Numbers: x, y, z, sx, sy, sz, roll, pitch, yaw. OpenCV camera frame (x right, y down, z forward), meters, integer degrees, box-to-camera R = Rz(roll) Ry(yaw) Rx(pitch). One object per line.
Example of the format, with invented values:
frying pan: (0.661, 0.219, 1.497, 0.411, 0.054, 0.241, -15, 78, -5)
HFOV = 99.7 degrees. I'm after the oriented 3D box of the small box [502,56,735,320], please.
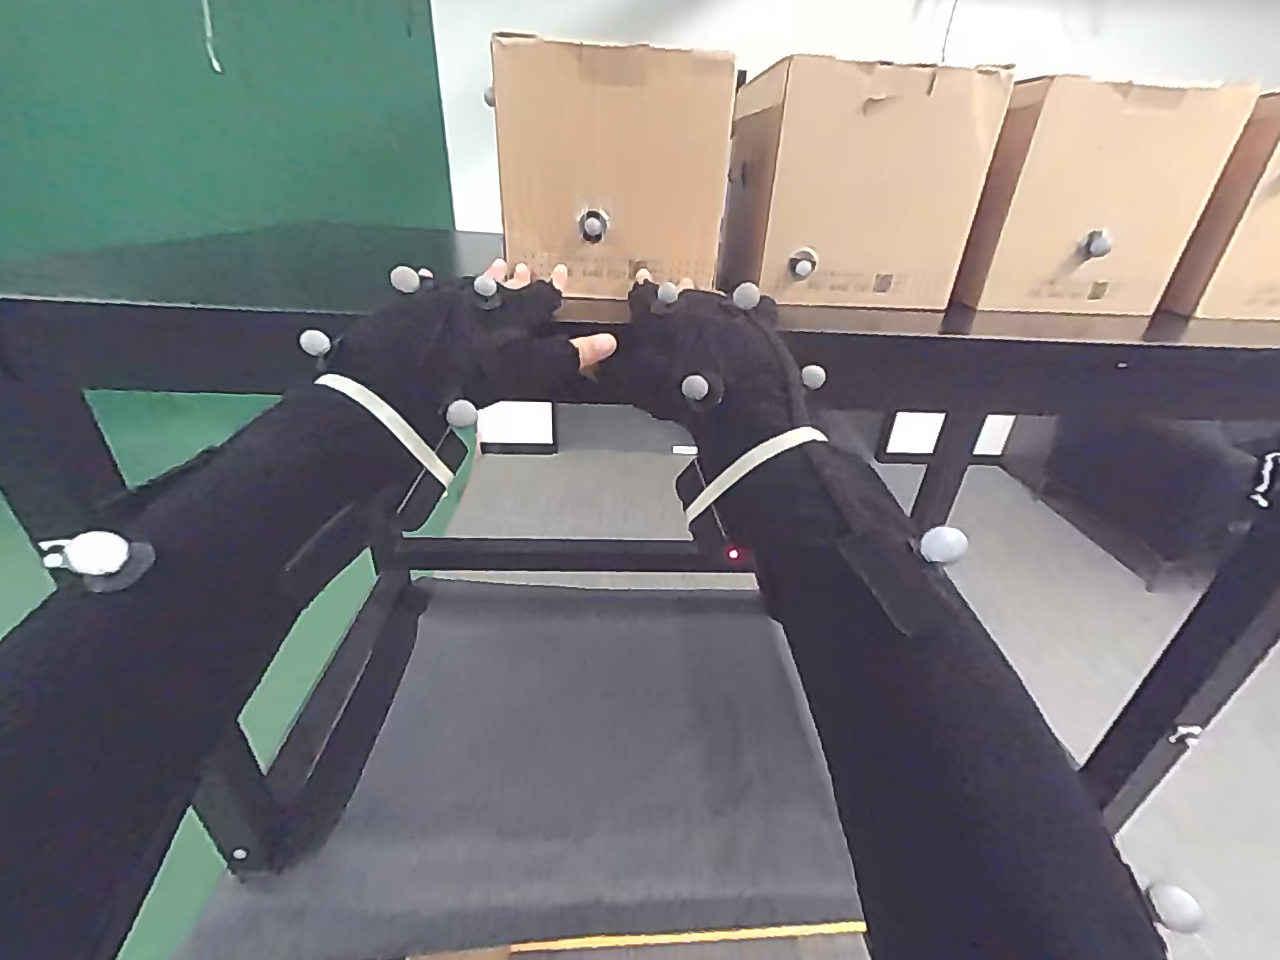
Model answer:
small box: (-0.021, -0.250, 0.483, 0.168, 0.176, 0.179, 2, 28, -3)
